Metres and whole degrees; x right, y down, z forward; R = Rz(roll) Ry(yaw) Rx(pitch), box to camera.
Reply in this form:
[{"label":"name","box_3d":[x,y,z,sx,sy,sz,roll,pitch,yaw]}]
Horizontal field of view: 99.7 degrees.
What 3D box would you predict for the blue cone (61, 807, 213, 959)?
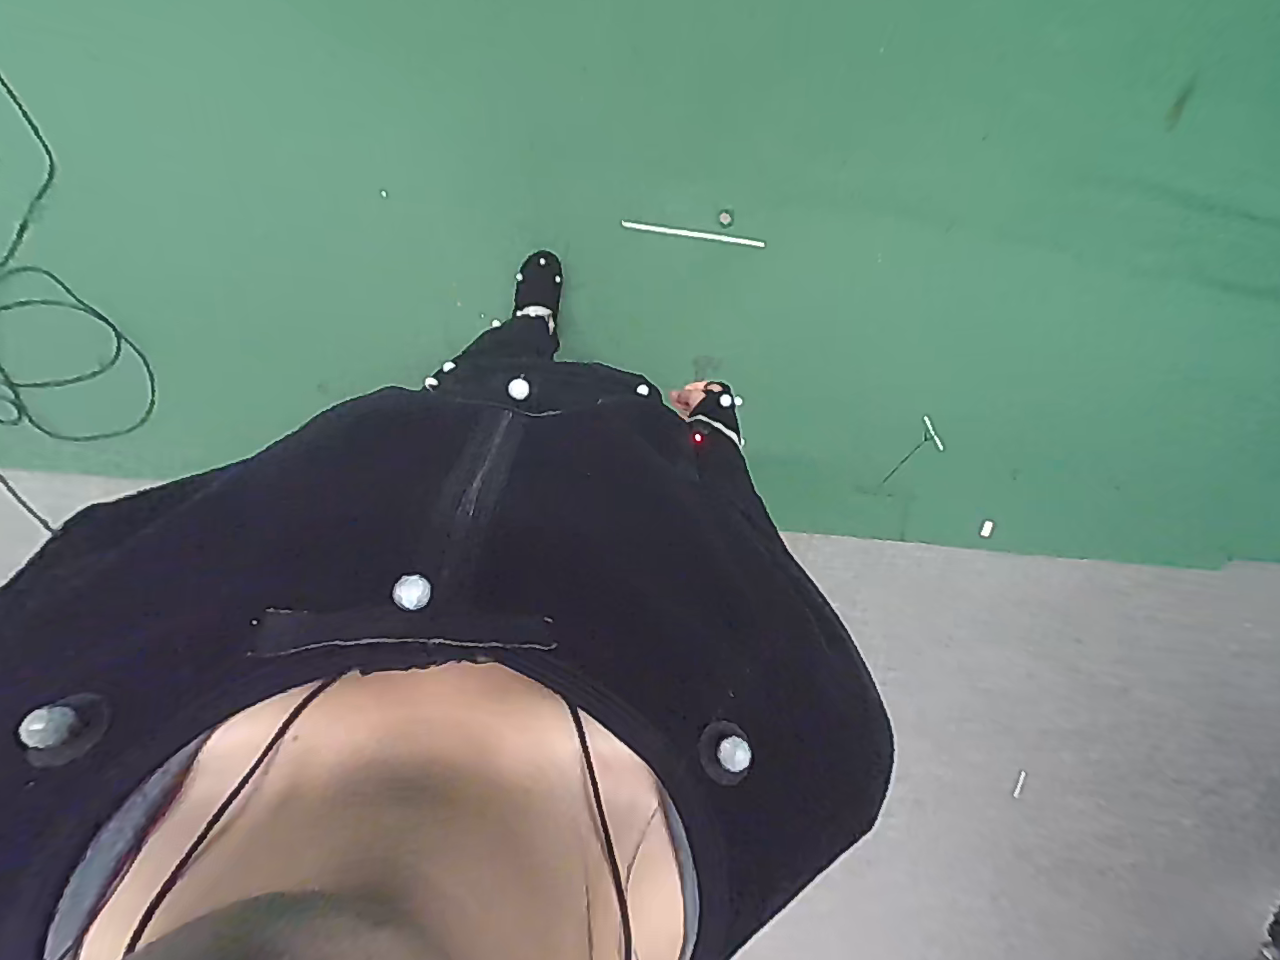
[{"label":"blue cone","box_3d":[-1.397,1.133,1.476,0.193,0.380,0.192,-37,107,6]}]
